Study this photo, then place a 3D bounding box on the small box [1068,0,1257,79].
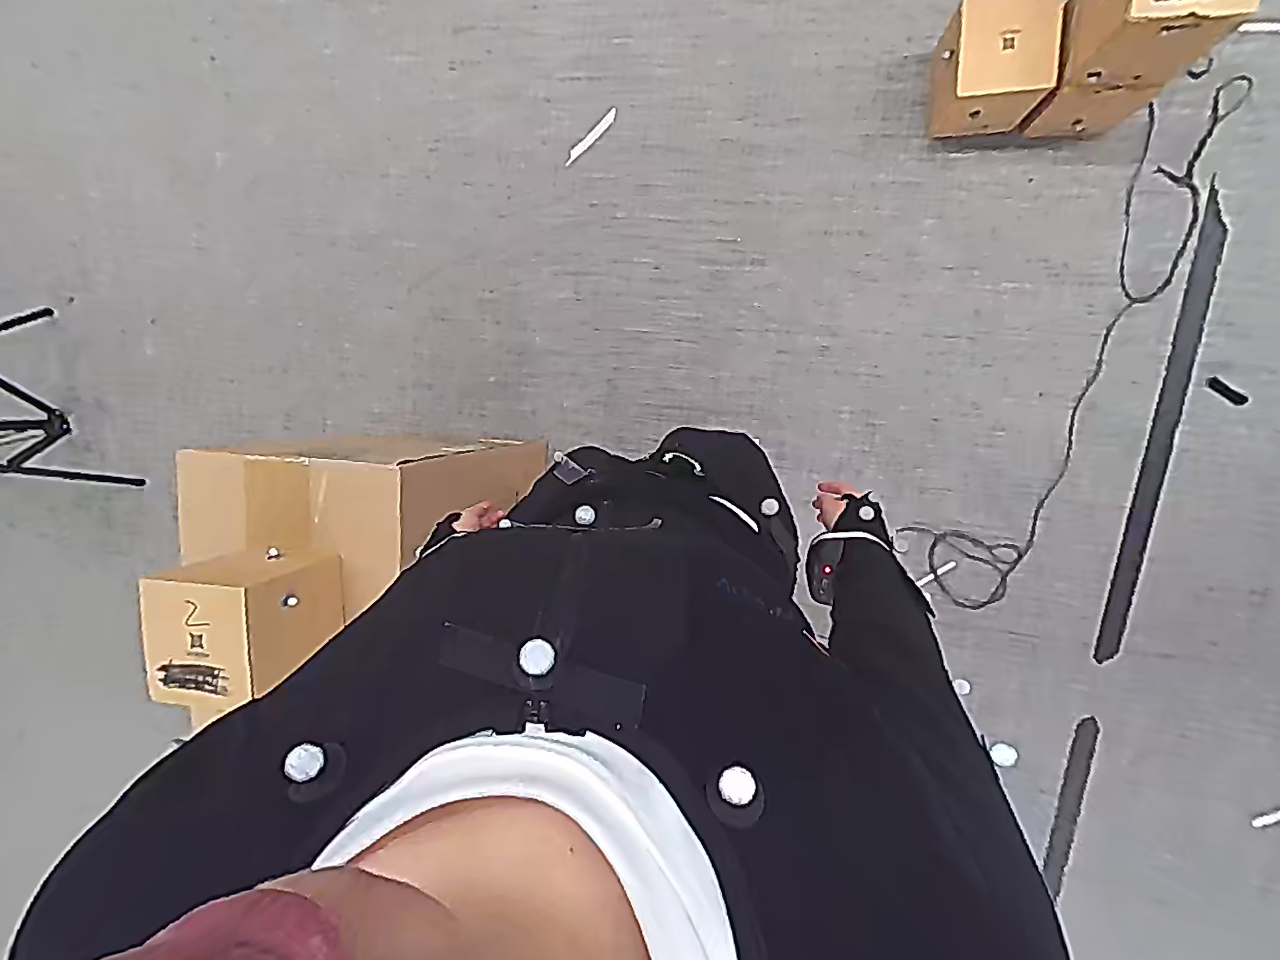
[{"bbox_3d":[0.821,-0.770,0.851,0.168,0.176,0.179,7,98,9],"label":"small box"}]
